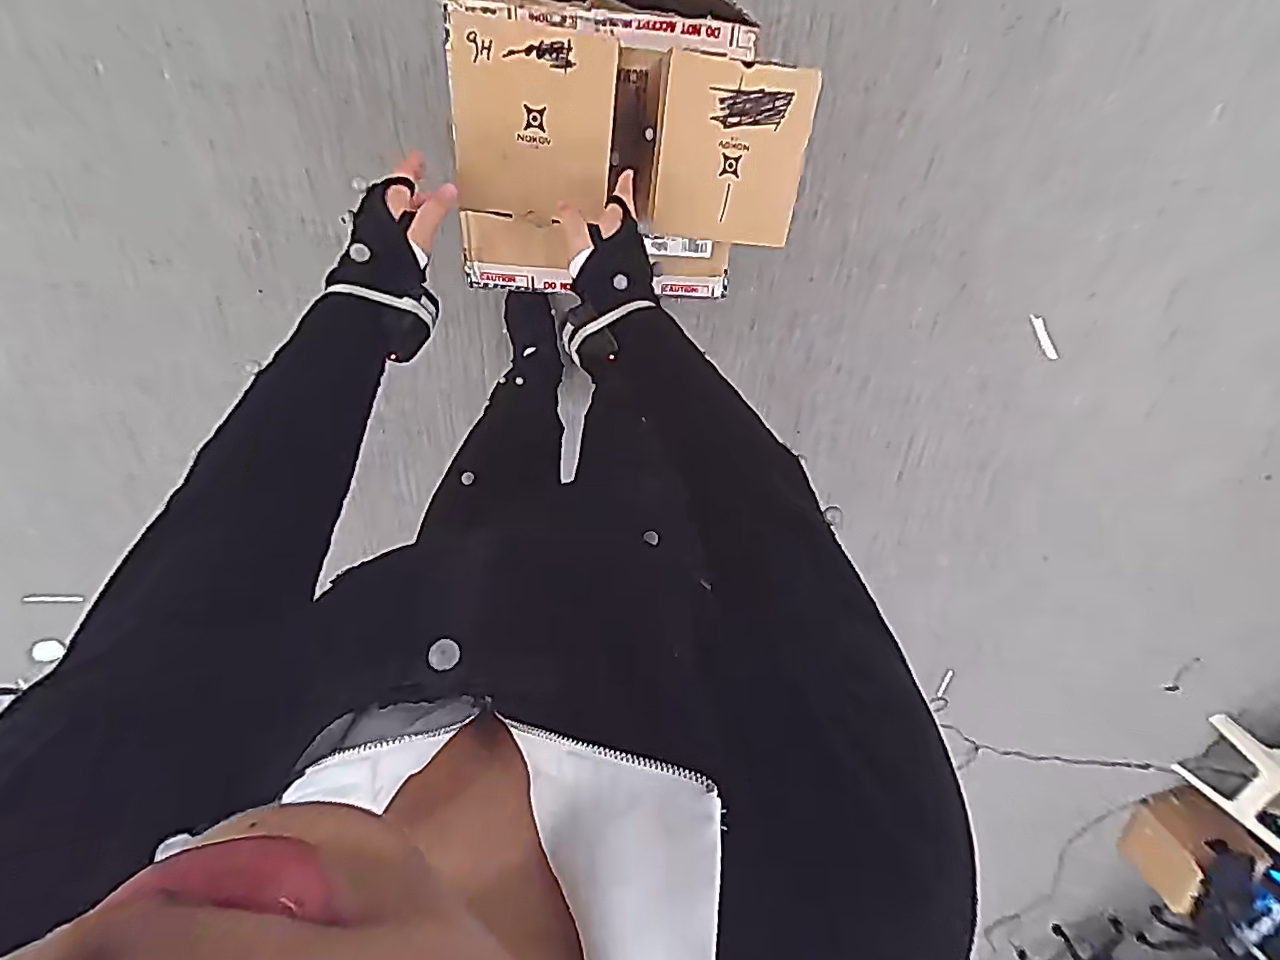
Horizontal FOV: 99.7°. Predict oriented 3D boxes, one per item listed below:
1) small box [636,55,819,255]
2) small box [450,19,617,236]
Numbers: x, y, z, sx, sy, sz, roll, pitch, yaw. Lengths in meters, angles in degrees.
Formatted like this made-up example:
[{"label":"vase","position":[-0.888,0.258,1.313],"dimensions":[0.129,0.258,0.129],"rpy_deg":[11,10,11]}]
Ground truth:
[{"label":"small box","position":[0.091,-0.390,0.667],"dimensions":[0.168,0.176,0.179],"rpy_deg":[2,121,-9]},{"label":"small box","position":[-0.116,-0.402,0.637],"dimensions":[0.168,0.176,0.179],"rpy_deg":[5,120,-6]}]
